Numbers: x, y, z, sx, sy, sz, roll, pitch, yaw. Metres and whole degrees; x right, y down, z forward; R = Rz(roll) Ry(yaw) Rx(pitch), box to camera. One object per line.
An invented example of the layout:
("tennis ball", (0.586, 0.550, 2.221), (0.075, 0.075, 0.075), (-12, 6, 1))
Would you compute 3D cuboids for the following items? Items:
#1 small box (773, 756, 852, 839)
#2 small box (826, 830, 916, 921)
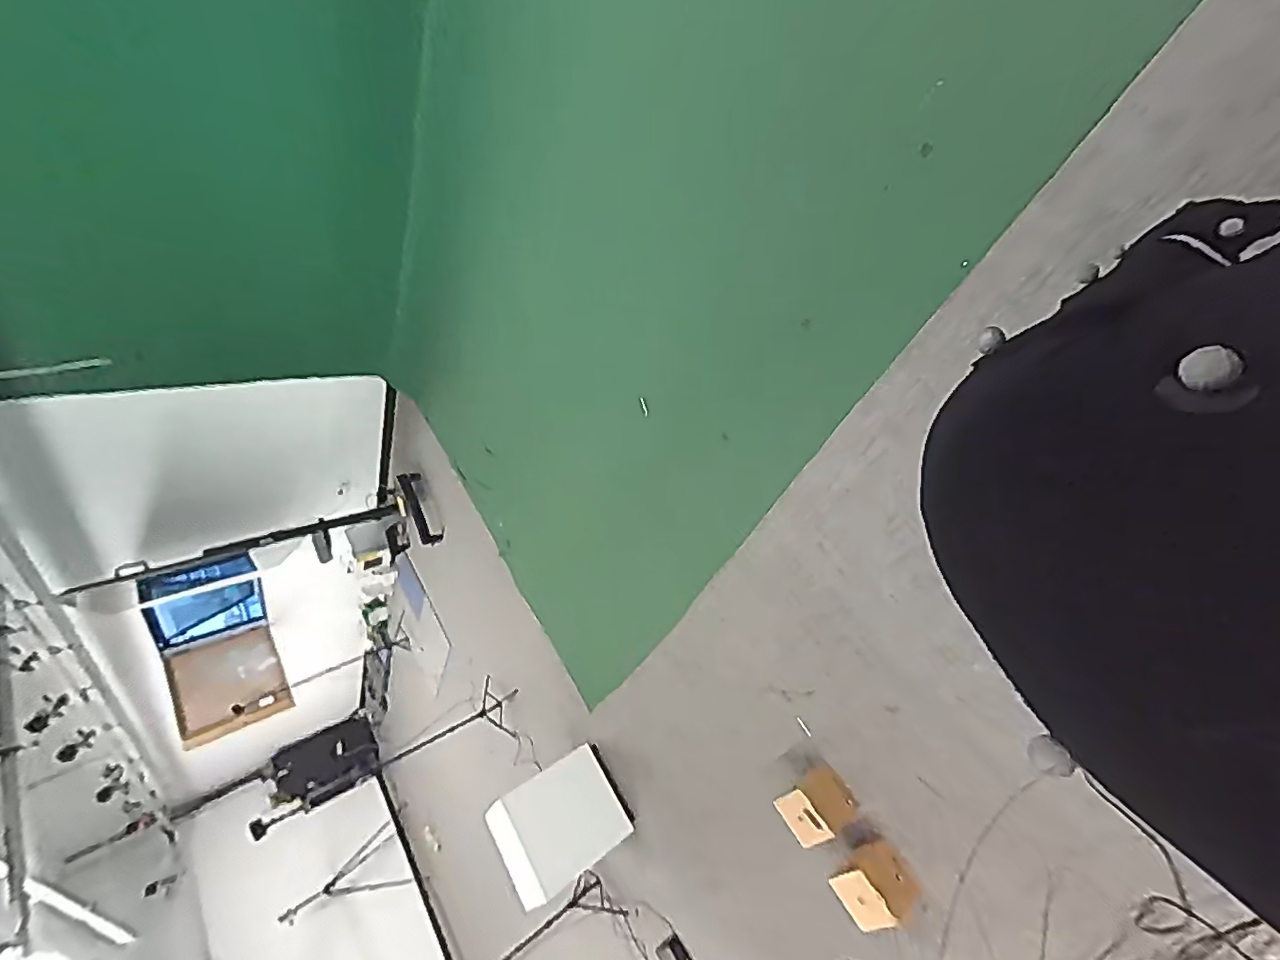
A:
("small box", (0.605, 1.095, 1.873), (0.168, 0.176, 0.179), (52, 136, 25))
("small box", (0.755, 1.284, 1.759), (0.168, 0.176, 0.179), (53, 135, 25))
